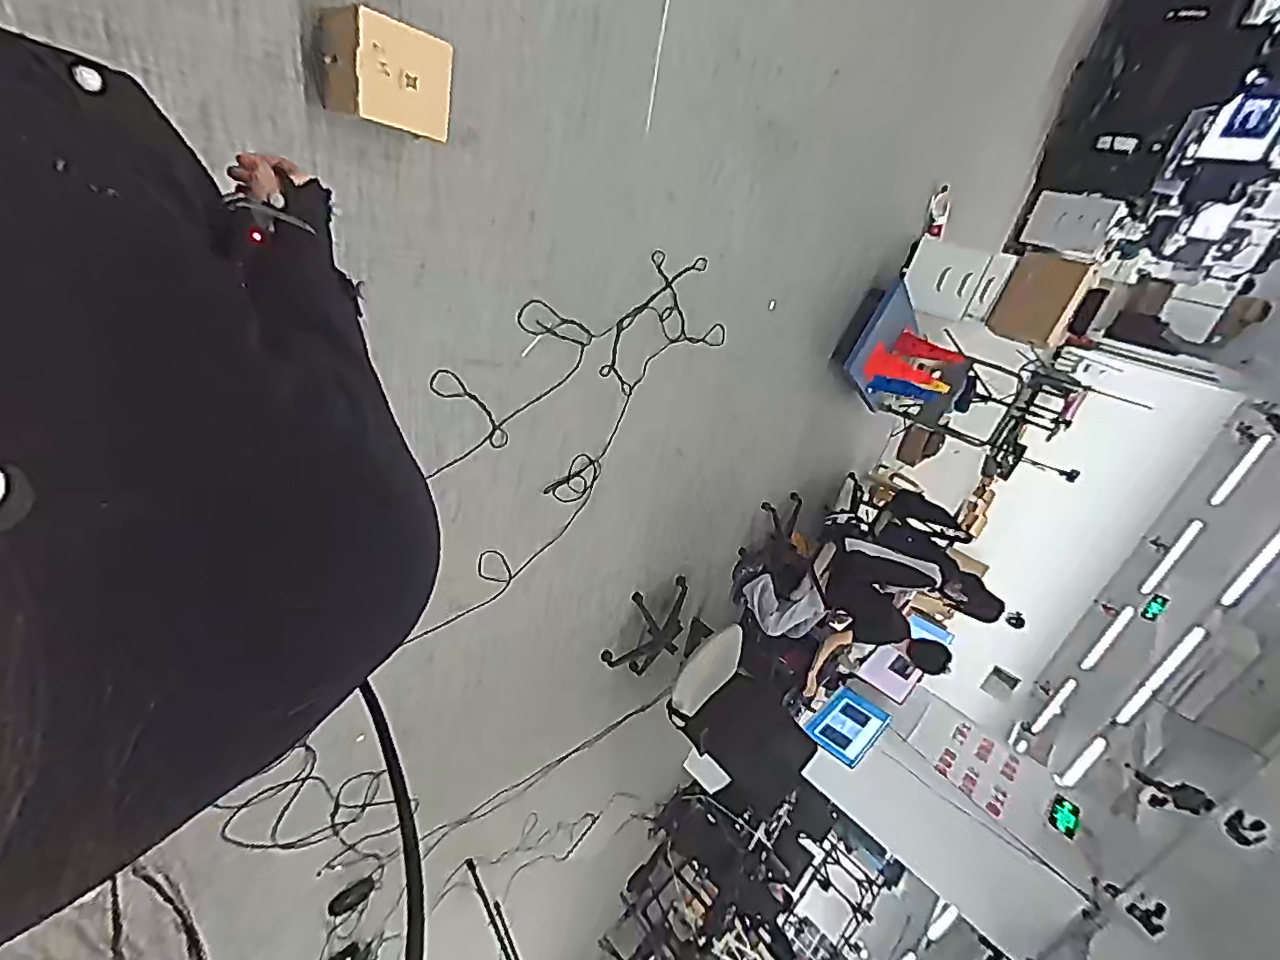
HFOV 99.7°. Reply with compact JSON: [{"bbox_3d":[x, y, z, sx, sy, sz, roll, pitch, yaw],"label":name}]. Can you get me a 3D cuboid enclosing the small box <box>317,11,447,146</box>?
[{"bbox_3d":[-0.502,-0.774,1.053,0.179,0.176,0.168,-14,125,-45],"label":"small box"}]
